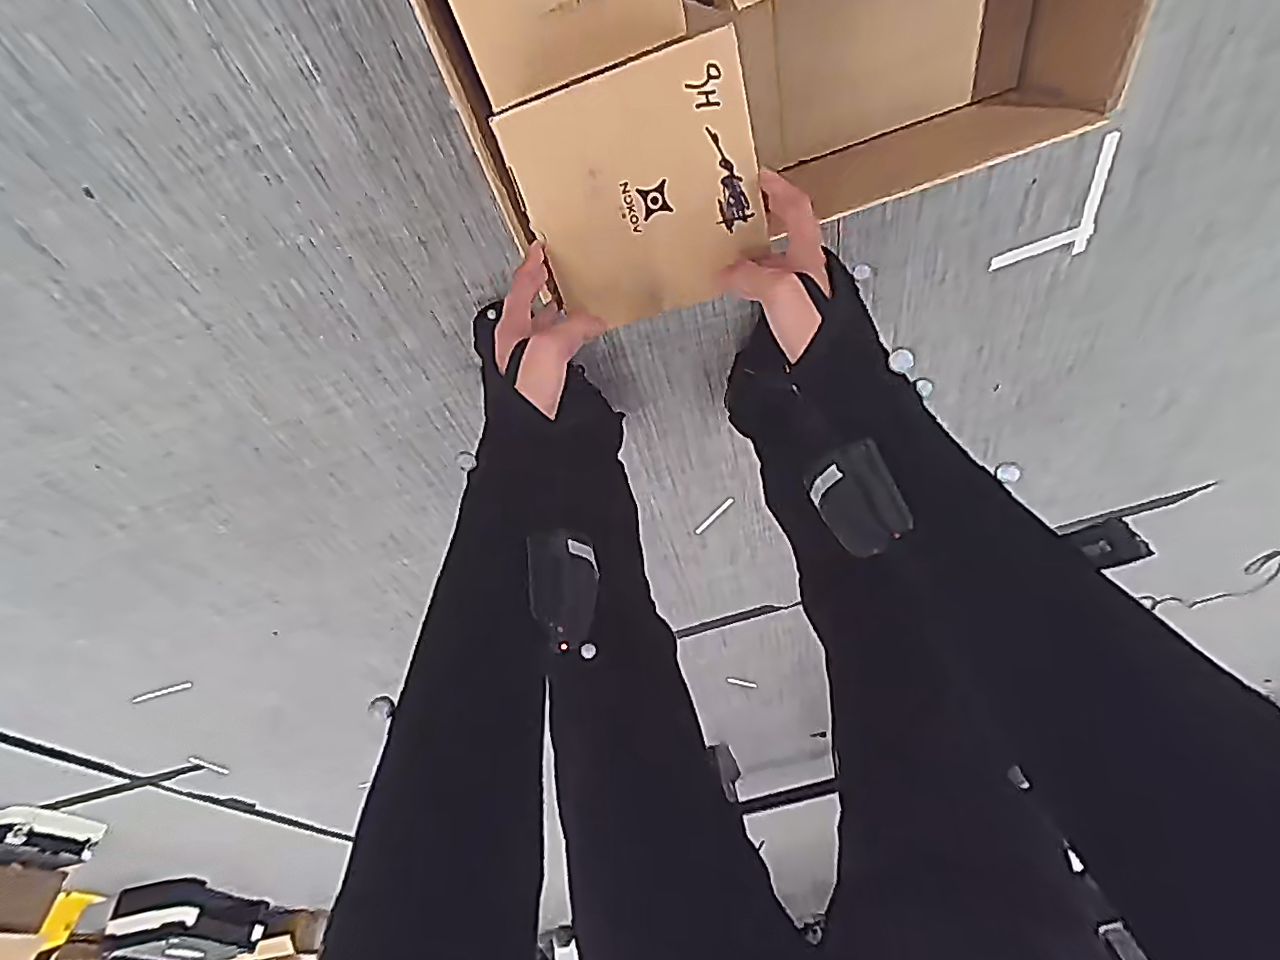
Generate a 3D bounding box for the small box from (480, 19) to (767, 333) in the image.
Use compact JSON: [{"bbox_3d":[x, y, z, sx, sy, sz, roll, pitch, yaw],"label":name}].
[{"bbox_3d":[-0.005,-0.251,0.461,0.179,0.176,0.168,-15,124,9],"label":"small box"}]
